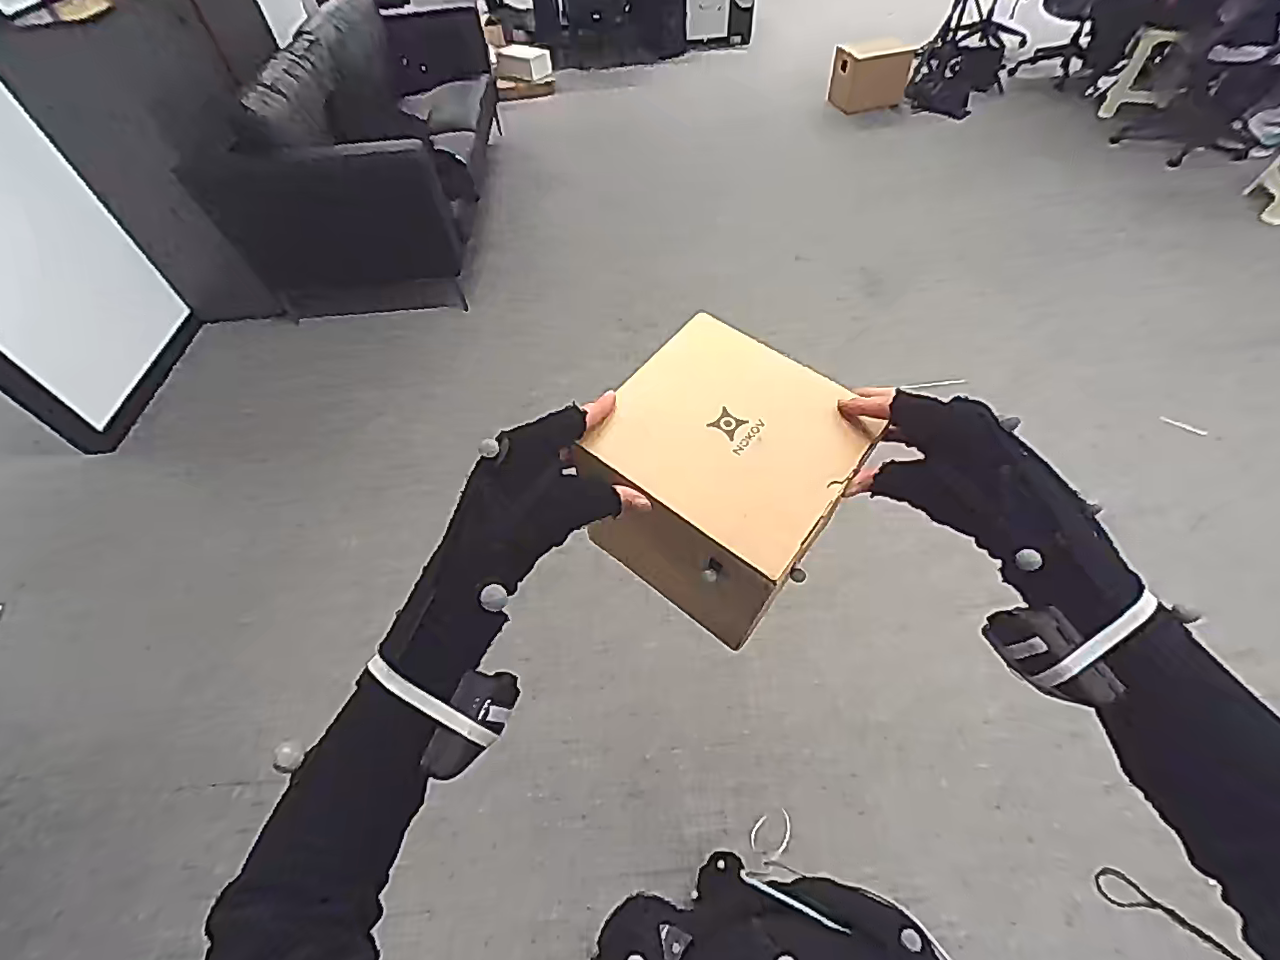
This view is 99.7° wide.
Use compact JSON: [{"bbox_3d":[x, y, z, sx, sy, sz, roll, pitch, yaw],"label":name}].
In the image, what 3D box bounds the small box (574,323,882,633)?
[{"bbox_3d":[0.065,0.006,0.469,0.179,0.176,0.168,35,65,18],"label":"small box"}]
